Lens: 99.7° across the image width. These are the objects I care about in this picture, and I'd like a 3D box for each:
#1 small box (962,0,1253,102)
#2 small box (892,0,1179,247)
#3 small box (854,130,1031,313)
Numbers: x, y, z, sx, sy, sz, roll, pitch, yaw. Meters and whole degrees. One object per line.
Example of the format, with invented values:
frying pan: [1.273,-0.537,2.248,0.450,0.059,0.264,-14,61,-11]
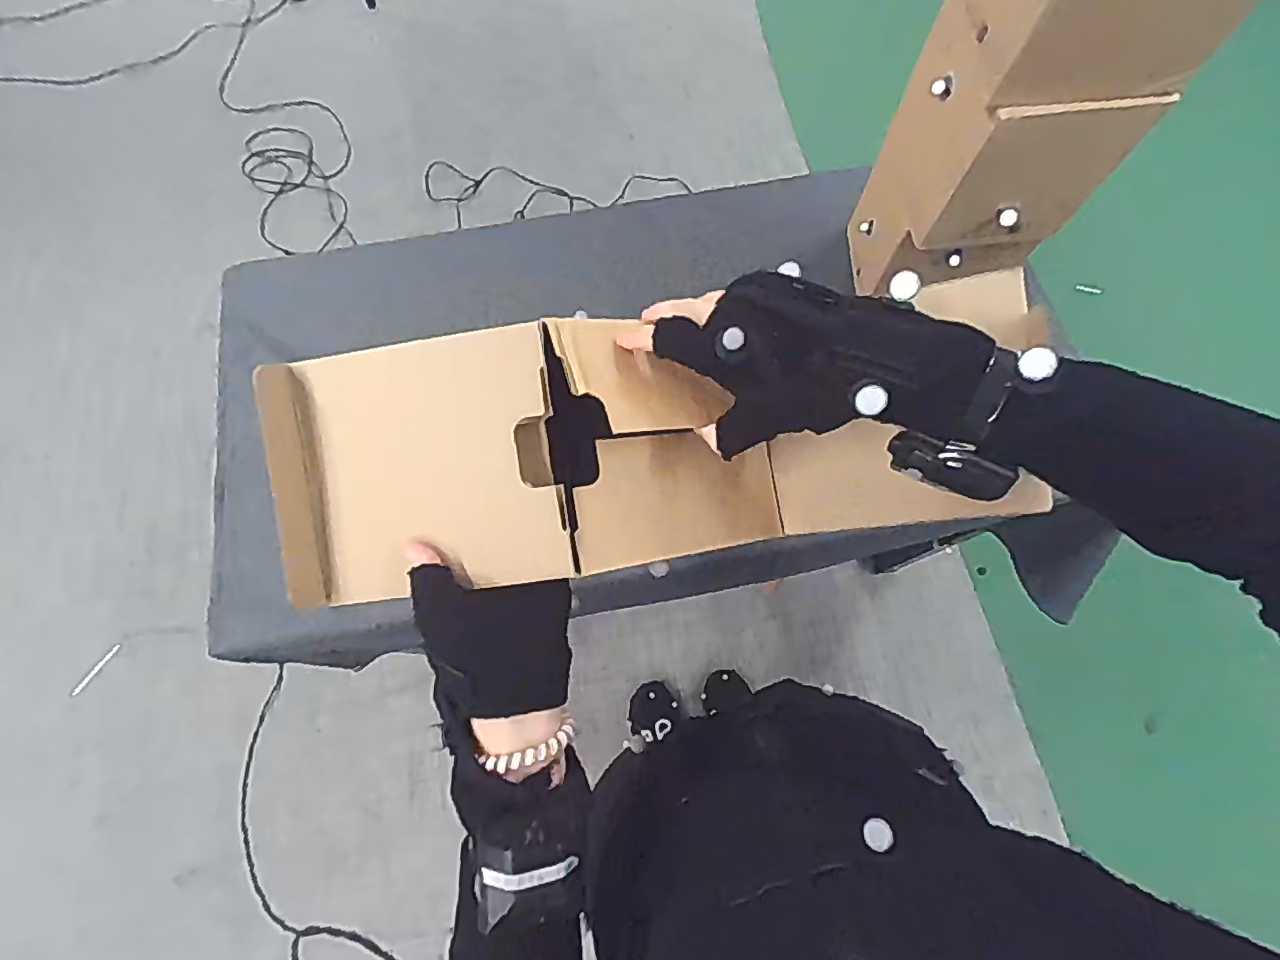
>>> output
small box: [0.390,-0.440,0.434,0.179,0.176,0.168,-2,72,1]
small box: [0.398,-0.385,0.587,0.168,0.176,0.179,-5,72,1]
small box: [0.409,-0.348,0.747,0.179,0.176,0.168,1,71,2]
